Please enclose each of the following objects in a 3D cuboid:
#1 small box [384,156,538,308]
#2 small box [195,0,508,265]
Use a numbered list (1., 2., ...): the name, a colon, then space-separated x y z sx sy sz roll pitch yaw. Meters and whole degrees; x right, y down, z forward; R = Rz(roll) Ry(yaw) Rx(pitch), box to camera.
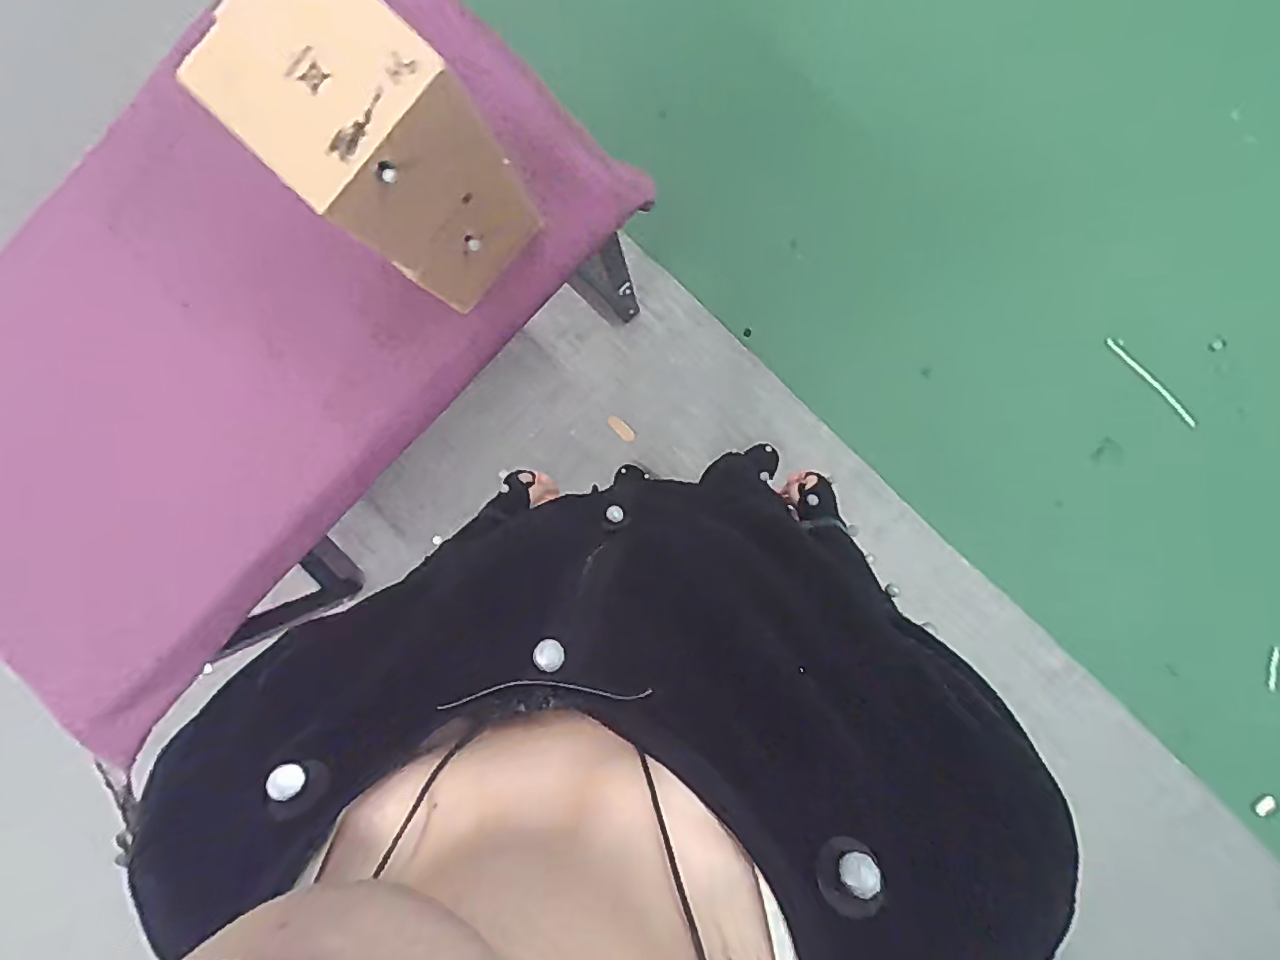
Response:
1. small box: -0.254 -0.358 0.705 0.168 0.176 0.179 43 97 1
2. small box: -0.268 -0.350 0.542 0.179 0.176 0.168 43 98 2
